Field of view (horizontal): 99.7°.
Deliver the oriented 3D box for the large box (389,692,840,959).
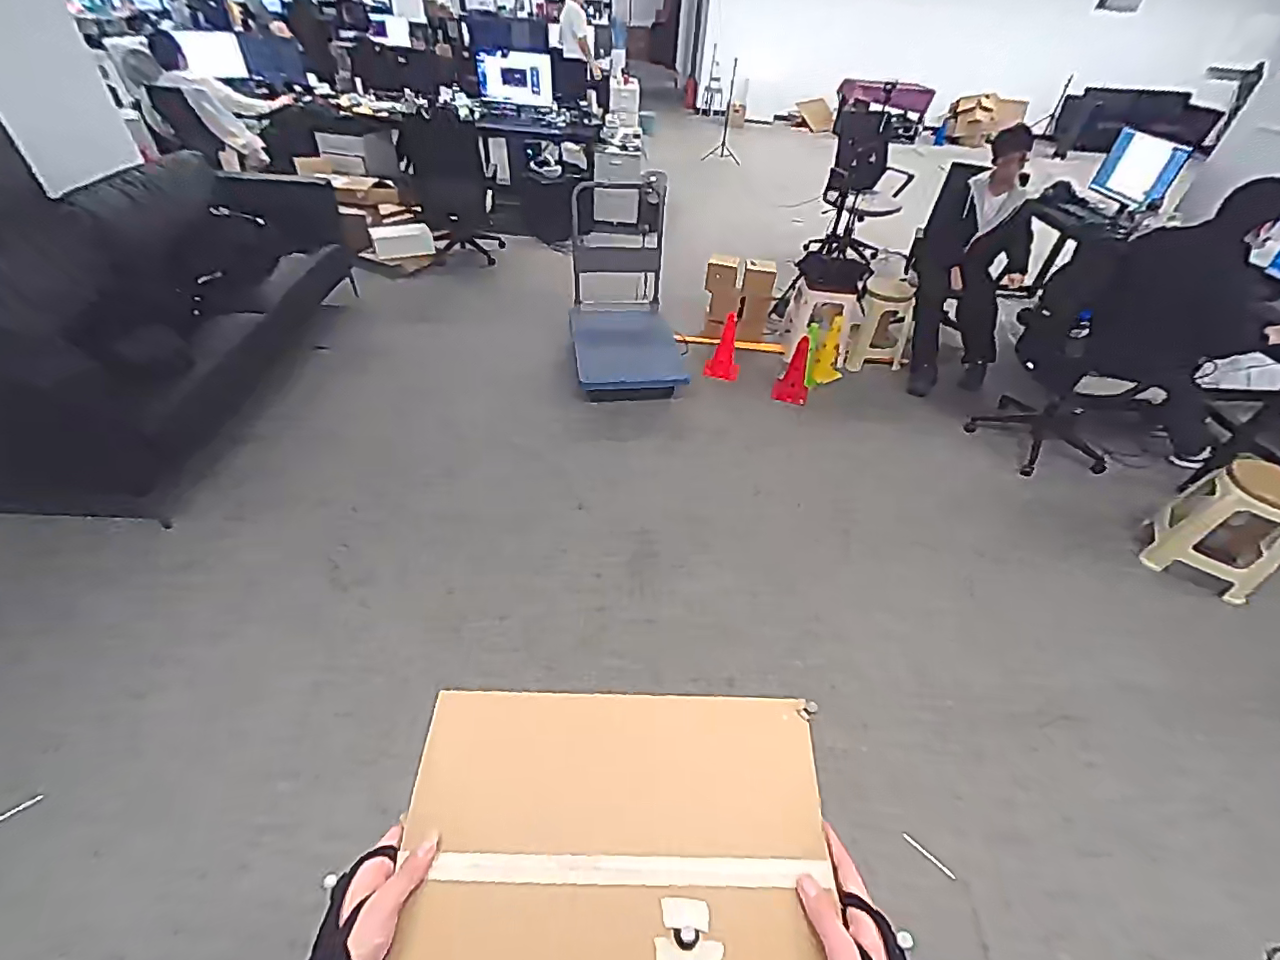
[{"bbox_3d":[-0.024,0.455,0.633,0.408,0.320,0.320,1,53,0],"label":"large box"}]
